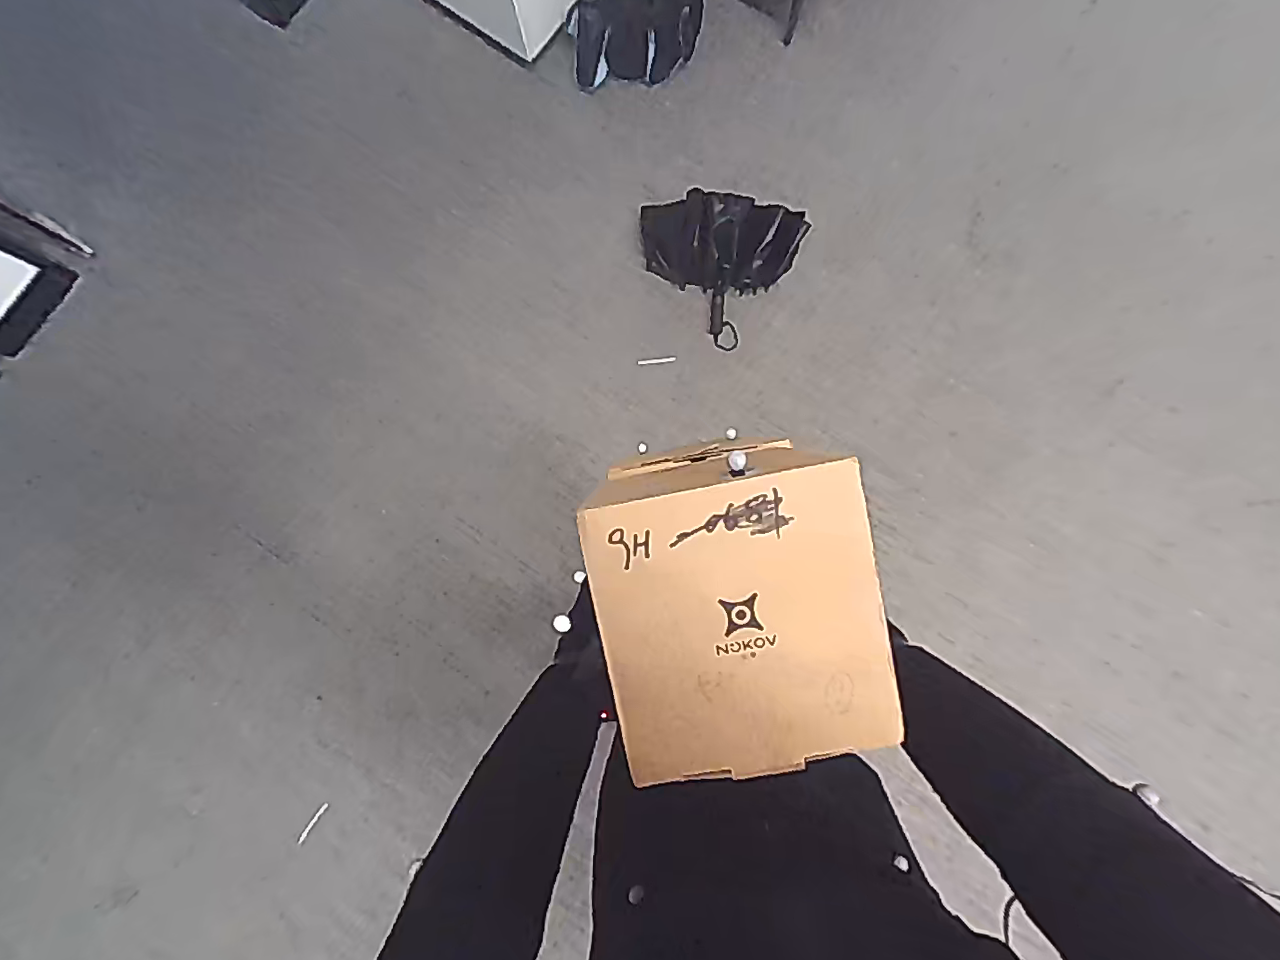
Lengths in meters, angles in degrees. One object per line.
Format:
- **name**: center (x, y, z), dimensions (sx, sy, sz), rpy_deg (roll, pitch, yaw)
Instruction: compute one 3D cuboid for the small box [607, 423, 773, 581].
- **small box**: center (0.063, 0.023, 0.725), dimensions (0.179, 0.176, 0.168), rpy_deg (-12, 95, 2)
